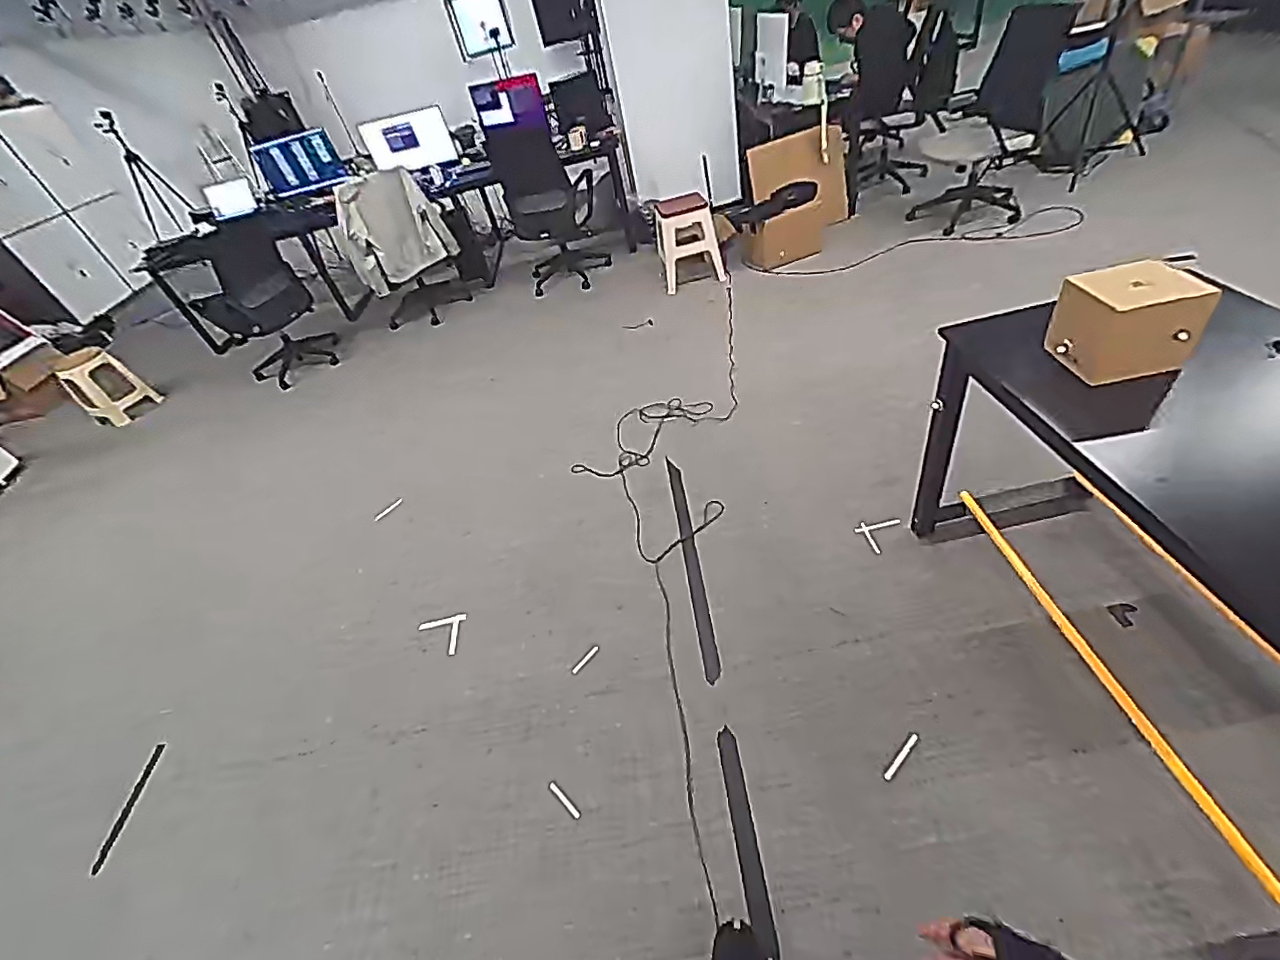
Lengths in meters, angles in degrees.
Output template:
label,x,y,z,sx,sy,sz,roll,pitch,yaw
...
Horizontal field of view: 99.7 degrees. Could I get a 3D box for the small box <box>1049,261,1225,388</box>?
label,x,y,z,sx,sy,sz,roll,pitch,yaw
small box,0.974,-0.309,1.084,0.179,0.176,0.168,-12,41,6
